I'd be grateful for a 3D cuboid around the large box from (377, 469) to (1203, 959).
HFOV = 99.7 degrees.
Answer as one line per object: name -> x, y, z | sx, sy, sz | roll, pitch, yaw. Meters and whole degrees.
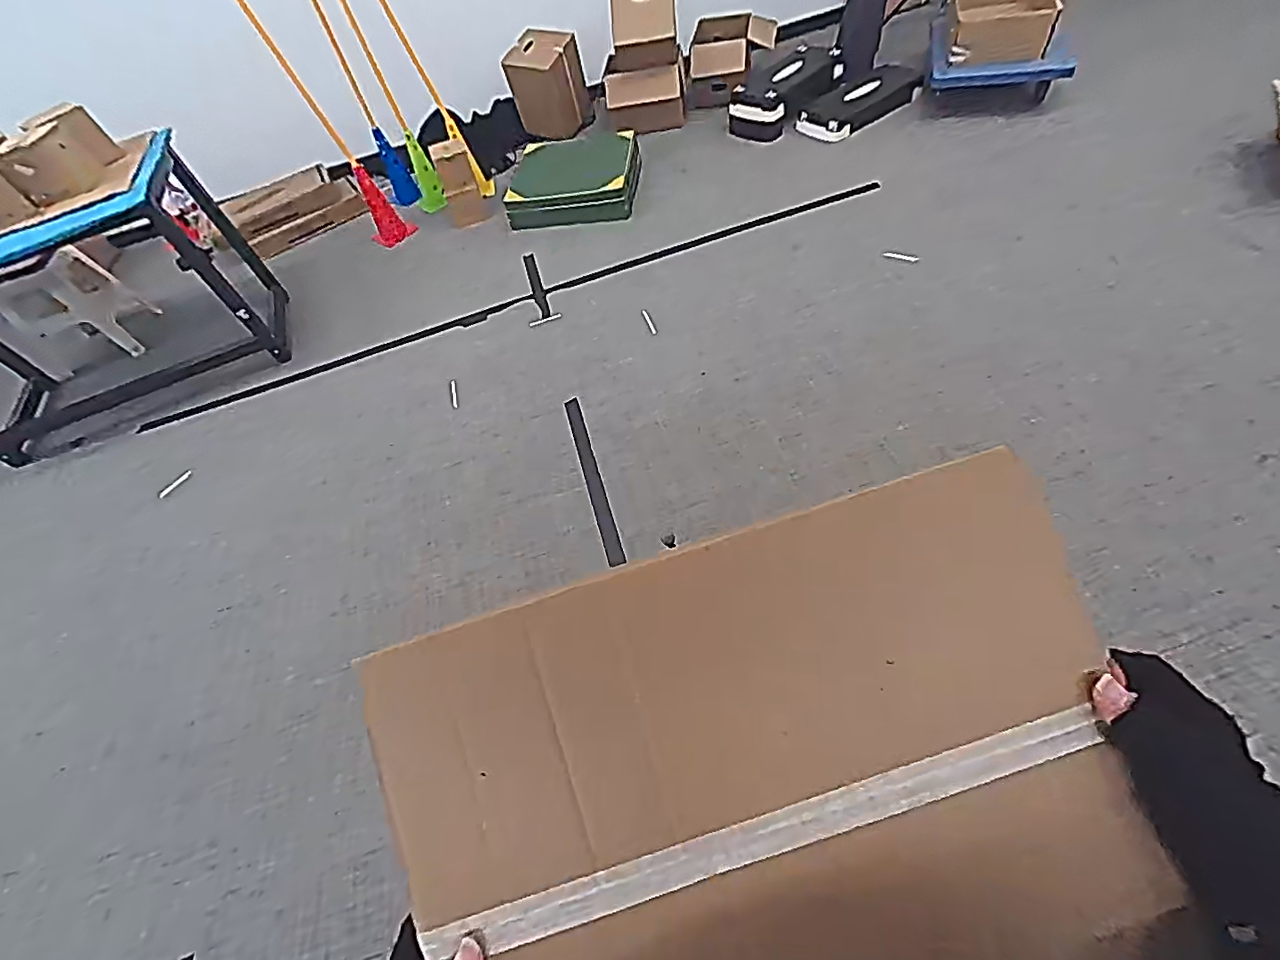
large box -> 0.081, 0.215, 0.456 | 0.408, 0.320, 0.320 | -19, 82, -1
